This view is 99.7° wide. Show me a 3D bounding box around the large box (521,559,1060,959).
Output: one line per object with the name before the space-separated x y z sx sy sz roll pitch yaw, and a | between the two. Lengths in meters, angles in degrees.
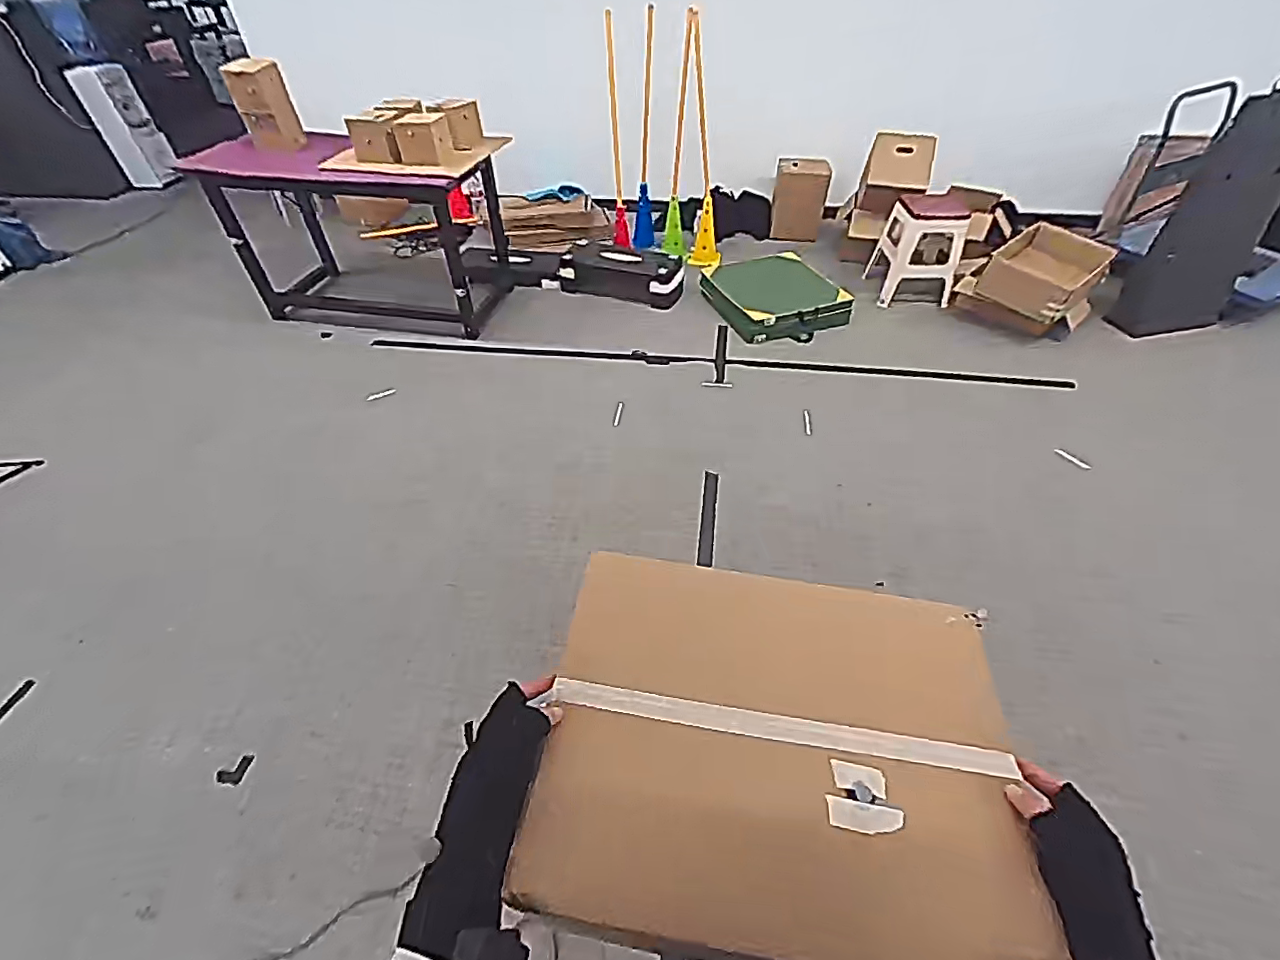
large box | 0.119 0.324 0.599 0.408 0.320 0.320 8 49 5
